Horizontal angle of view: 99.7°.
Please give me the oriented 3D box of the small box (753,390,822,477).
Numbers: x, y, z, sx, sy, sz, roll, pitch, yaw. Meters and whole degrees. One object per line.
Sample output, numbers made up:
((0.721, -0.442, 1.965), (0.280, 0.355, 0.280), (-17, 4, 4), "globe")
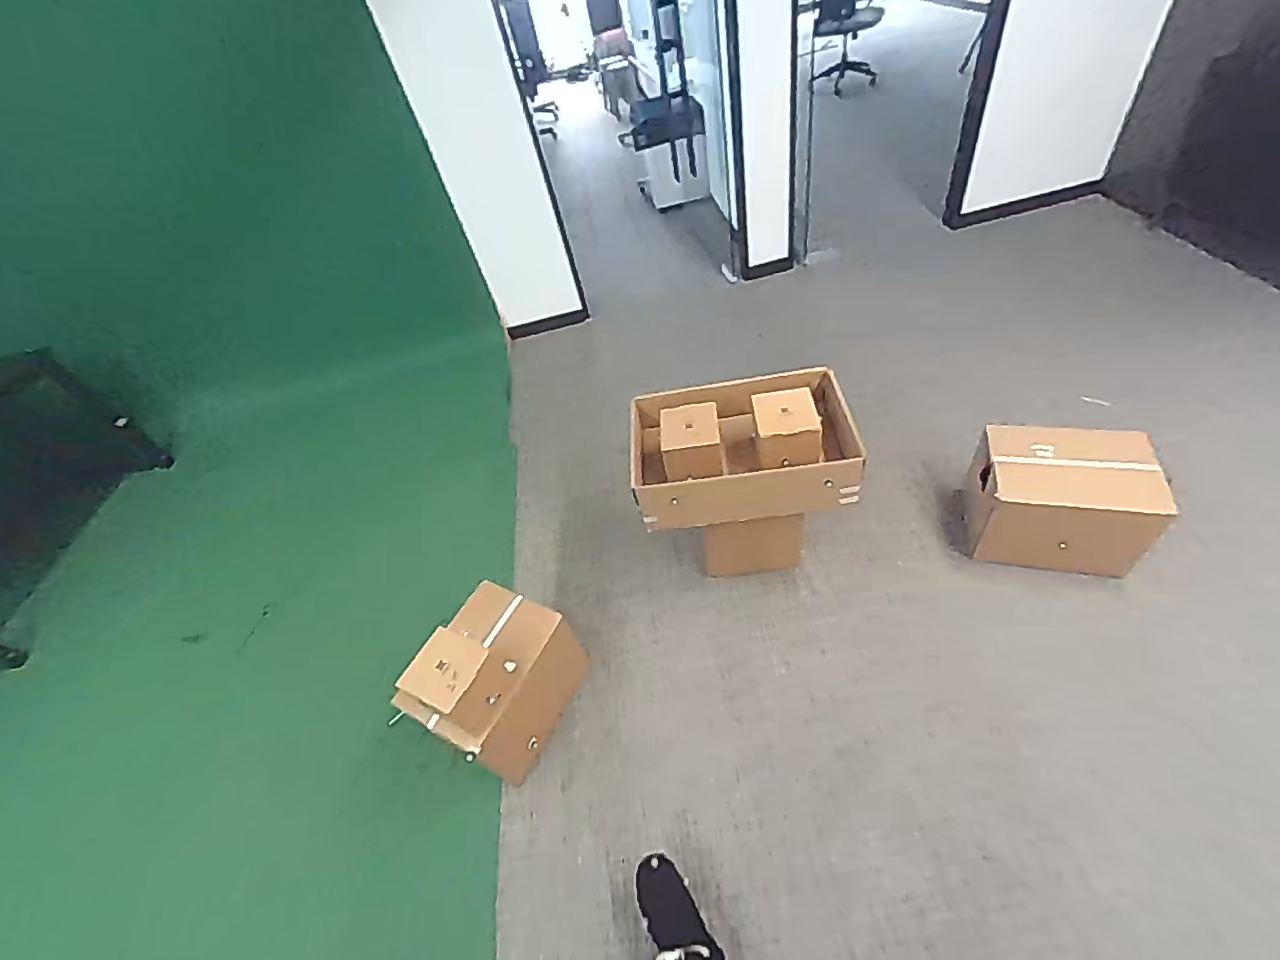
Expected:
((0.418, -0.132, 1.555), (0.168, 0.176, 0.179), (-7, 48, 8), "small box")

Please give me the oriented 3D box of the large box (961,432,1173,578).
((1.249, 0.072, 1.643), (0.408, 0.320, 0.320), (4, 49, 19), "large box")

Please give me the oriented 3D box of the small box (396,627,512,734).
((-0.449, 0.497, 1.332), (0.179, 0.176, 0.168), (15, 53, 24), "small box")
